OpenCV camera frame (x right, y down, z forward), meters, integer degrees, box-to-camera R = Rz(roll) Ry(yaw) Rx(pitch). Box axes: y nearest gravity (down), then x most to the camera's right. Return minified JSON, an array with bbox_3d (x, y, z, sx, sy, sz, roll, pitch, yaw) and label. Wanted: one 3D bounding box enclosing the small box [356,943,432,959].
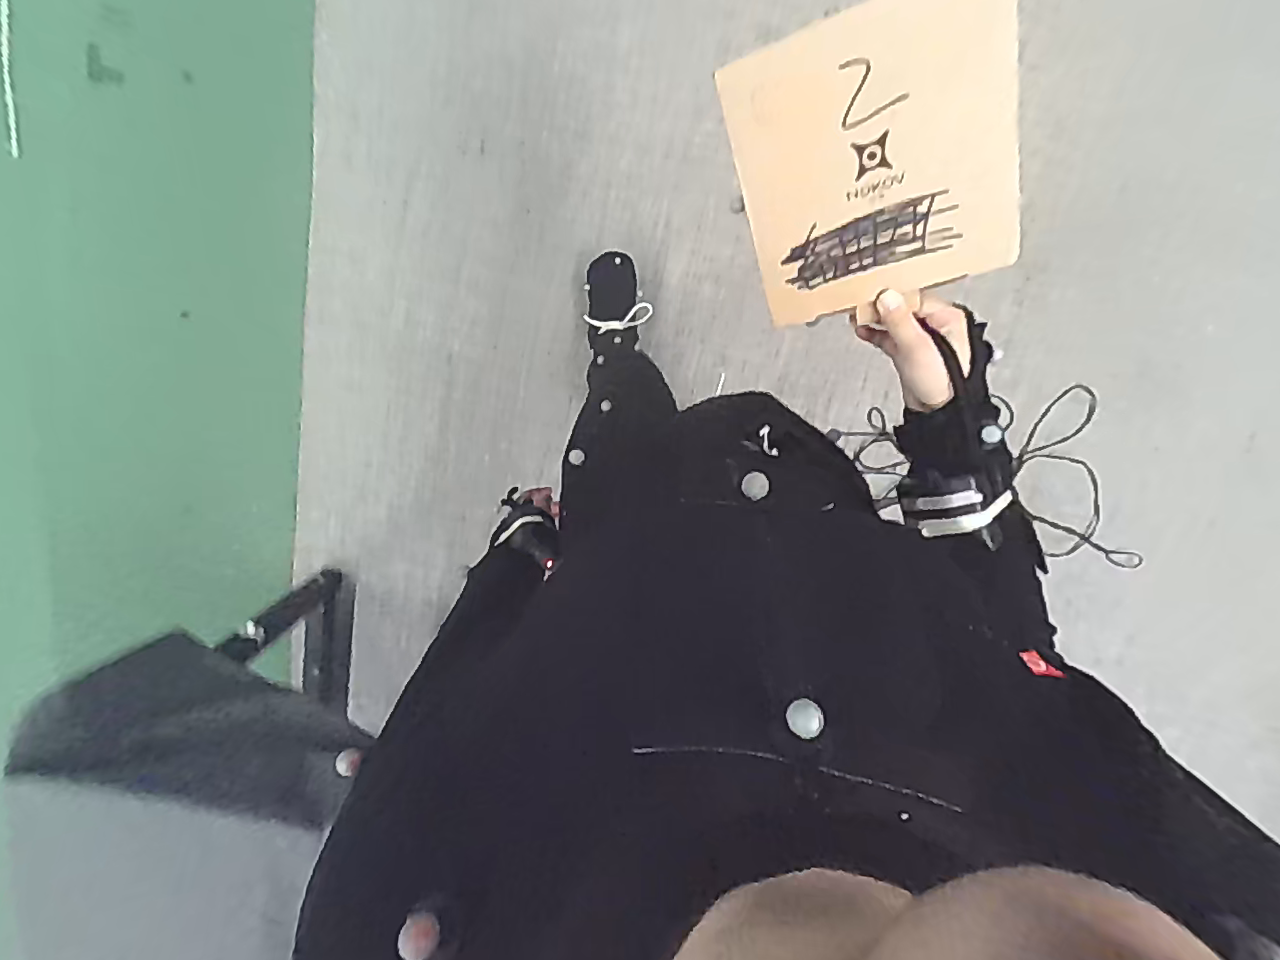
[{"bbox_3d":[-0.344,0.778,0.723,0.168,0.176,0.179,15,105,-1],"label":"small box"}]
